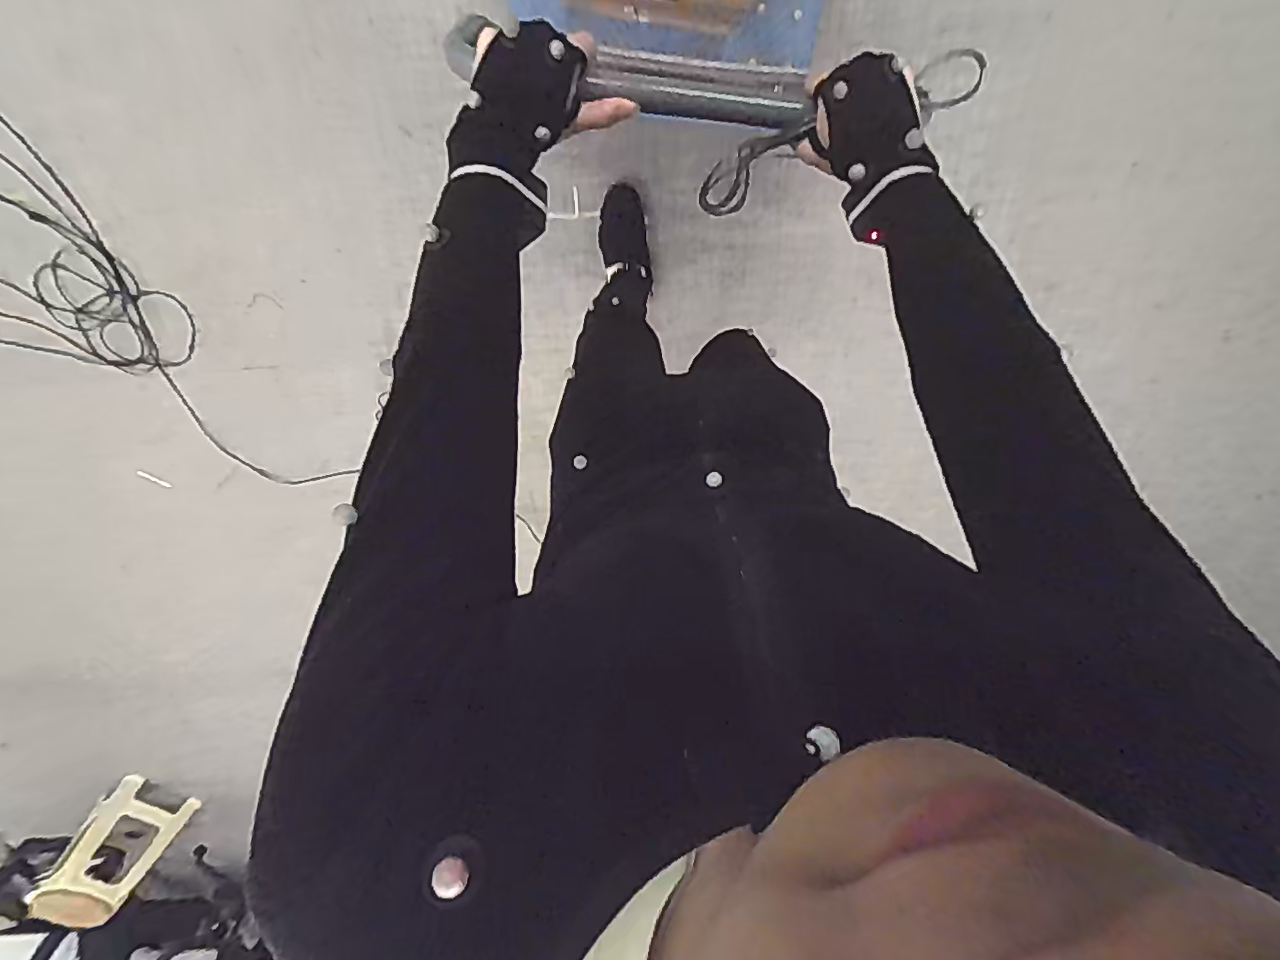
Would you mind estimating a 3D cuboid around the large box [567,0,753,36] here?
[{"bbox_3d":[0.044,-0.945,0.782,0.320,0.320,0.408,6,120,-6],"label":"large box"}]
